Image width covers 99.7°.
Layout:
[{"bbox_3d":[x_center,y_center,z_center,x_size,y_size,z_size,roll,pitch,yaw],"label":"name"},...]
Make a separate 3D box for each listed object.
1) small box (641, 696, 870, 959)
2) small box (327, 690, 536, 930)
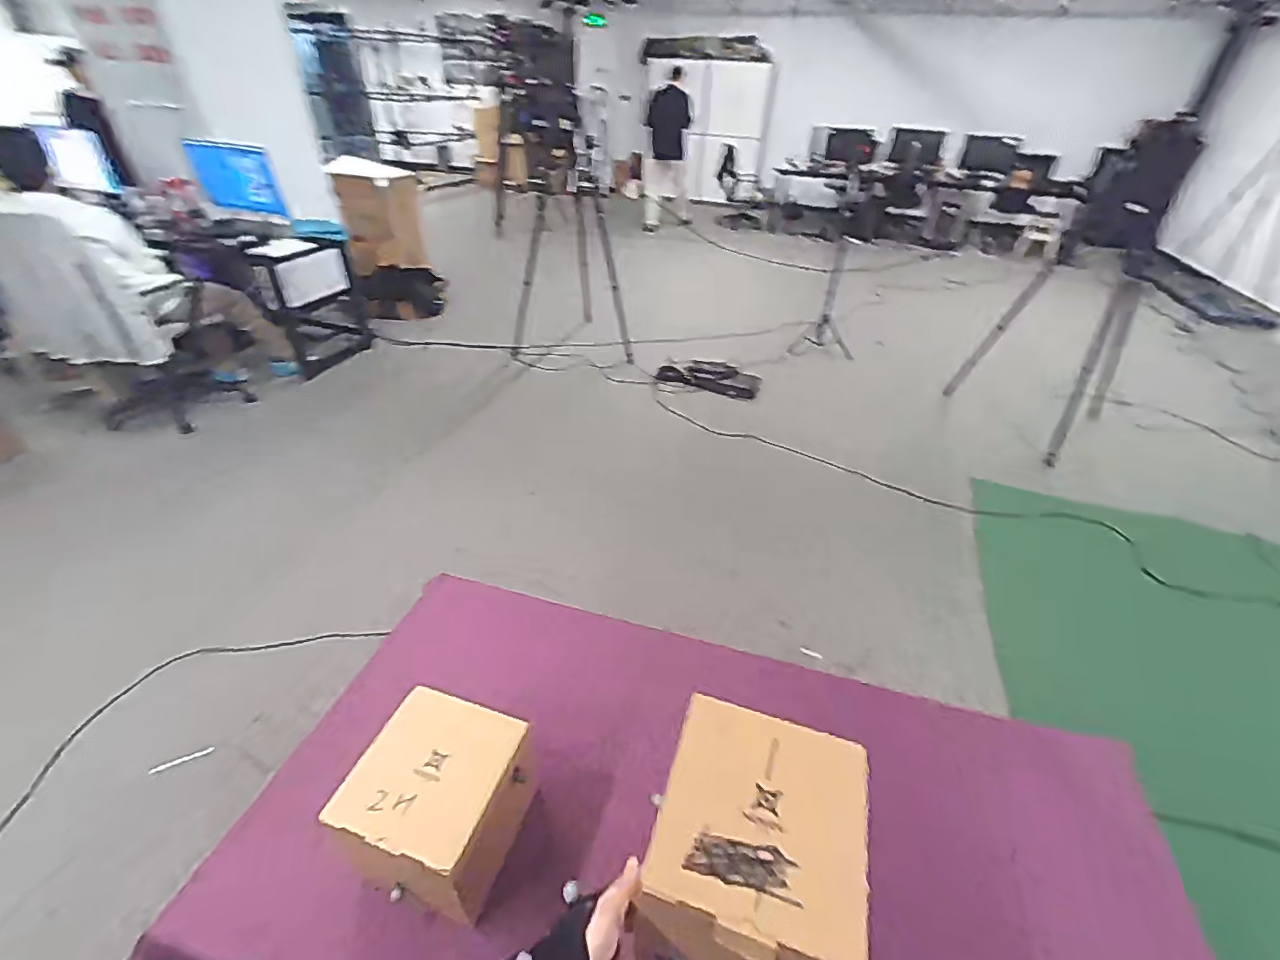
[{"bbox_3d":[0.104,0.343,0.497,0.168,0.176,0.179,13,35,14],"label":"small box"},{"bbox_3d":[-0.241,0.405,0.675,0.168,0.176,0.179,12,36,14],"label":"small box"}]
